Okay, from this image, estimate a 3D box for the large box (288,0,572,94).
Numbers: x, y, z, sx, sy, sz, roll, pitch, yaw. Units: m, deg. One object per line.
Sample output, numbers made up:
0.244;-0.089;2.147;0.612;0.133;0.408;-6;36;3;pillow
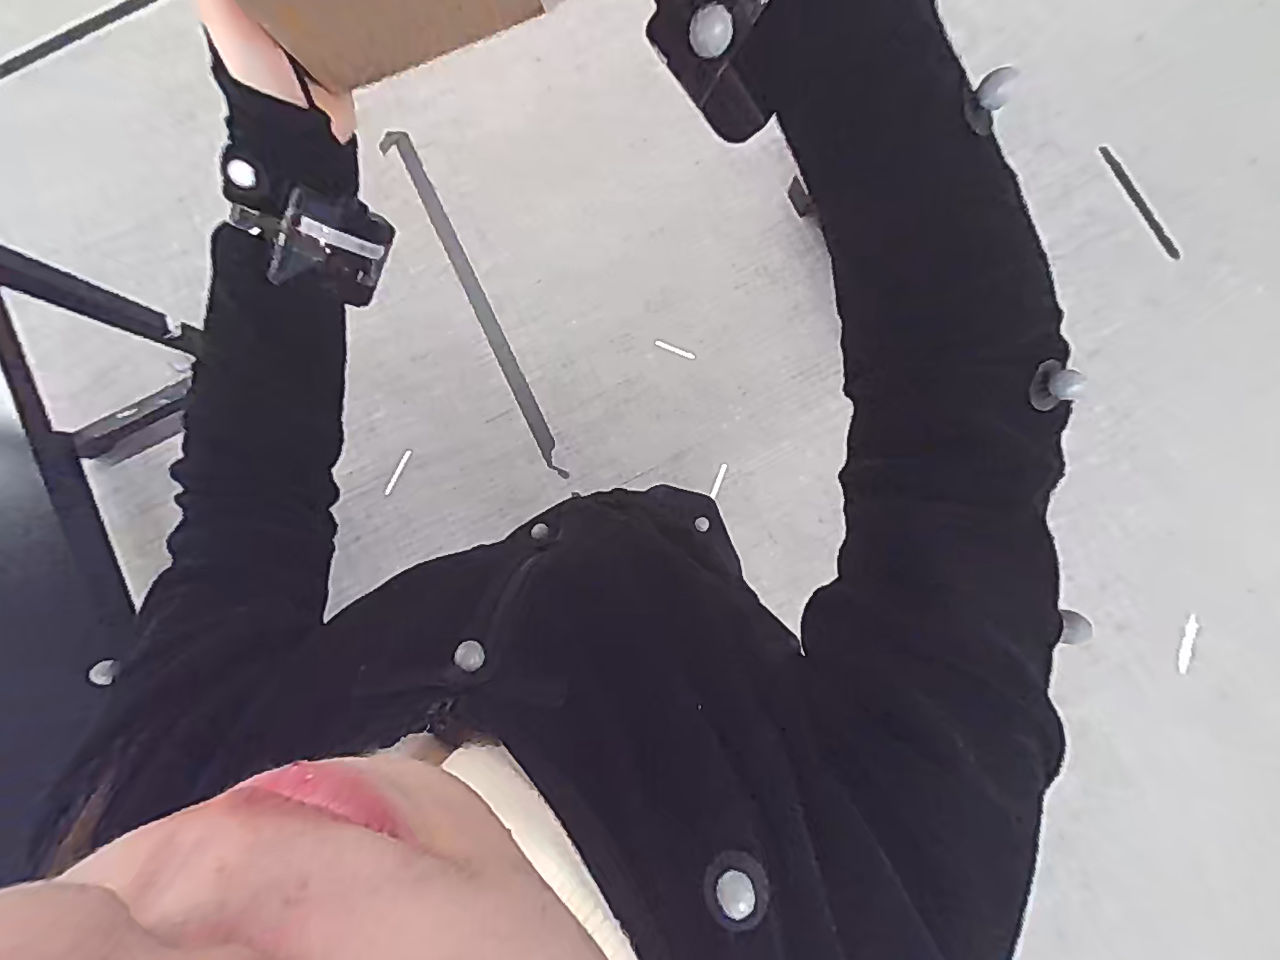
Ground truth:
-0.105;-0.450;0.159;0.320;0.320;0.408;-22;99;0;large box
